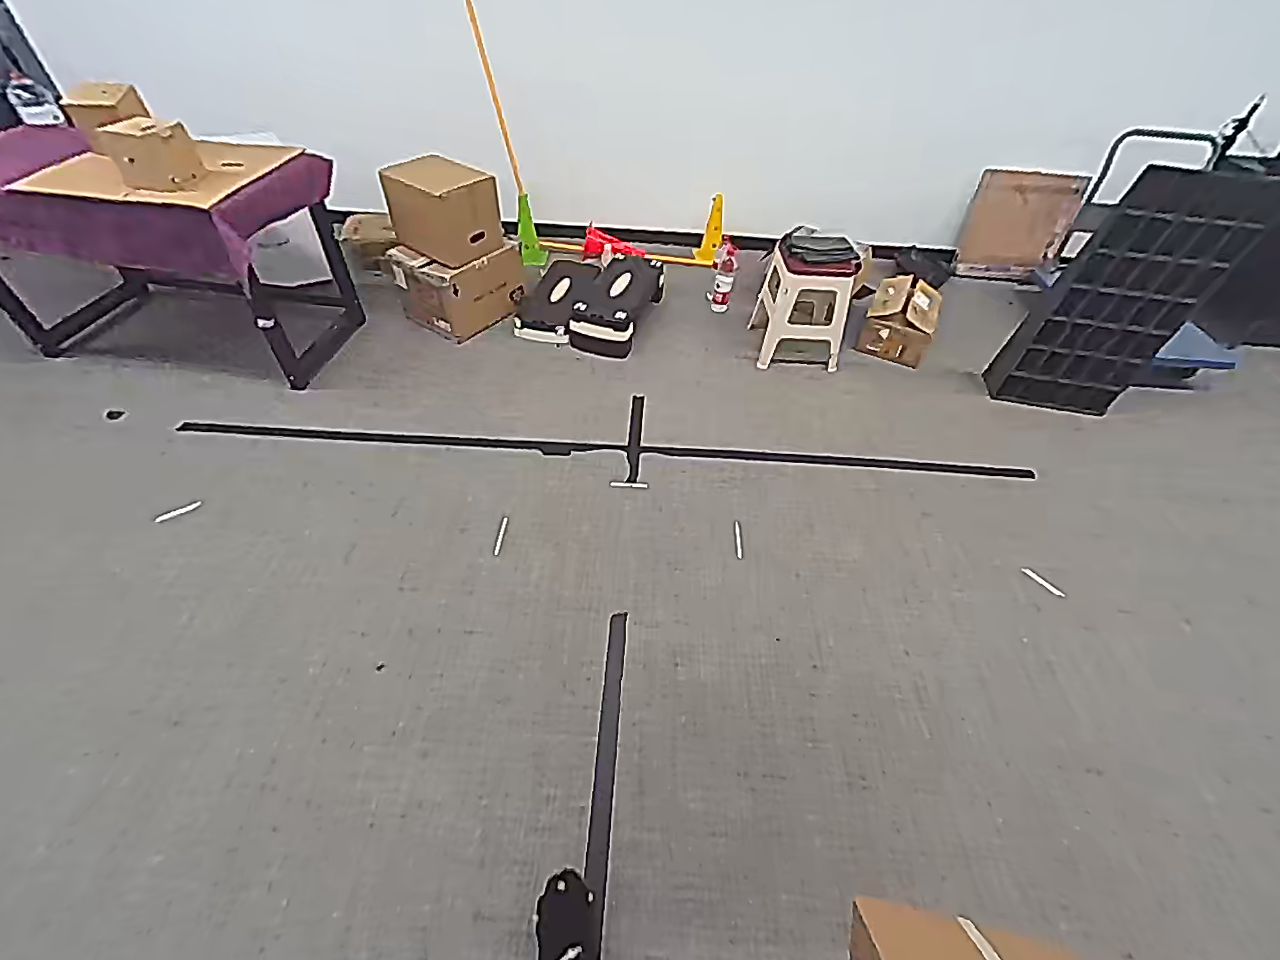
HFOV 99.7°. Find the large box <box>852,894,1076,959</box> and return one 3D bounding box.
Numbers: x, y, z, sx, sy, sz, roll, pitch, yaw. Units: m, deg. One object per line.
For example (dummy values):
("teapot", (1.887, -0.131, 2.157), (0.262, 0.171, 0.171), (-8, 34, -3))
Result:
("large box", (0.427, 0.770, 0.598), (0.320, 0.408, 0.320), (8, 78, 12))
